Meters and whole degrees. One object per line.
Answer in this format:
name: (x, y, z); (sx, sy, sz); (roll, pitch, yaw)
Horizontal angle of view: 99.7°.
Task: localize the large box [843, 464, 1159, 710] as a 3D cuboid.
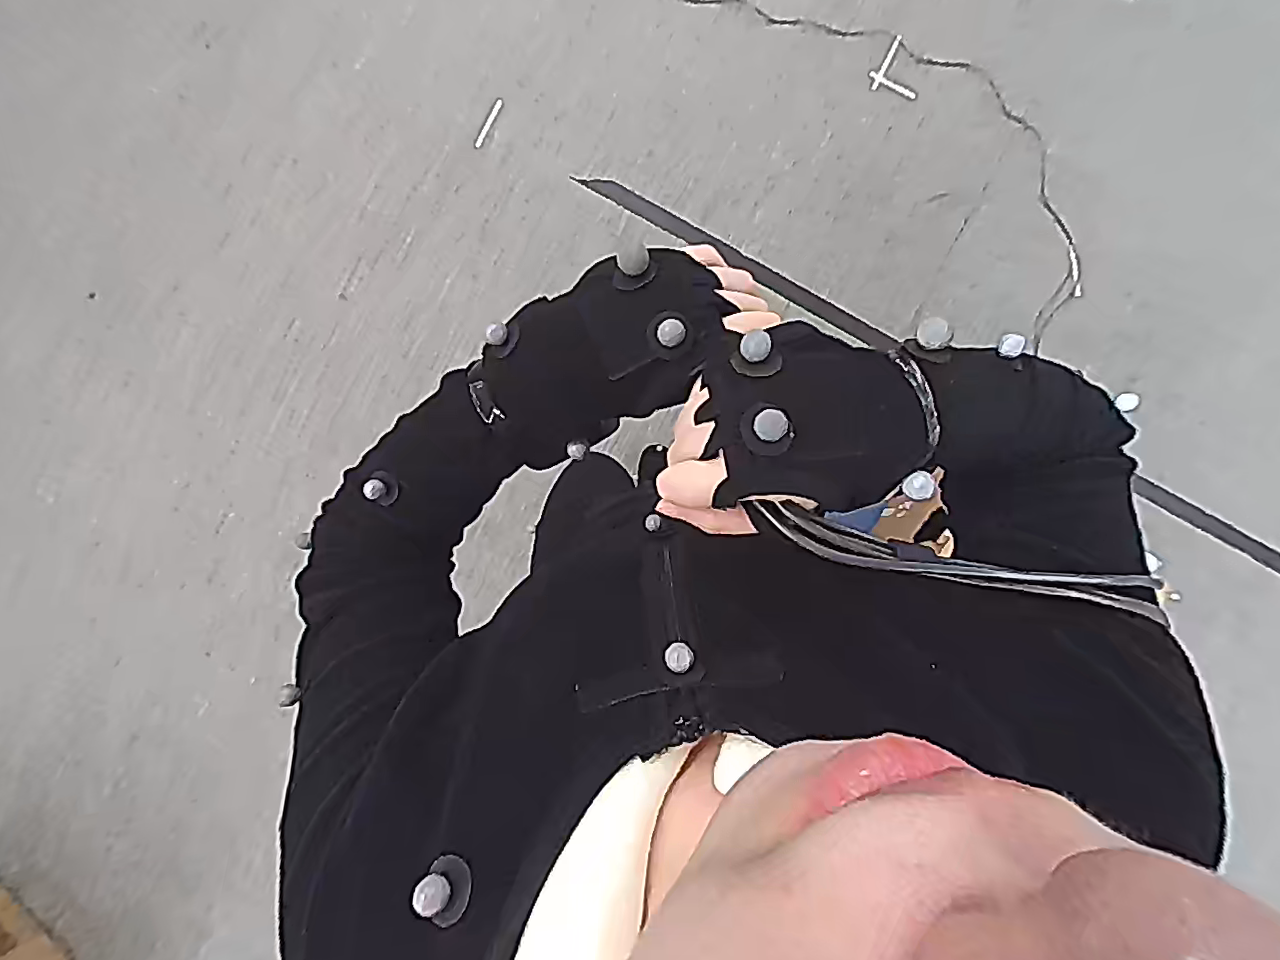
large box: (0.735, 0.199, 1.171); (0.408, 0.320, 0.320); (36, 93, -2)
